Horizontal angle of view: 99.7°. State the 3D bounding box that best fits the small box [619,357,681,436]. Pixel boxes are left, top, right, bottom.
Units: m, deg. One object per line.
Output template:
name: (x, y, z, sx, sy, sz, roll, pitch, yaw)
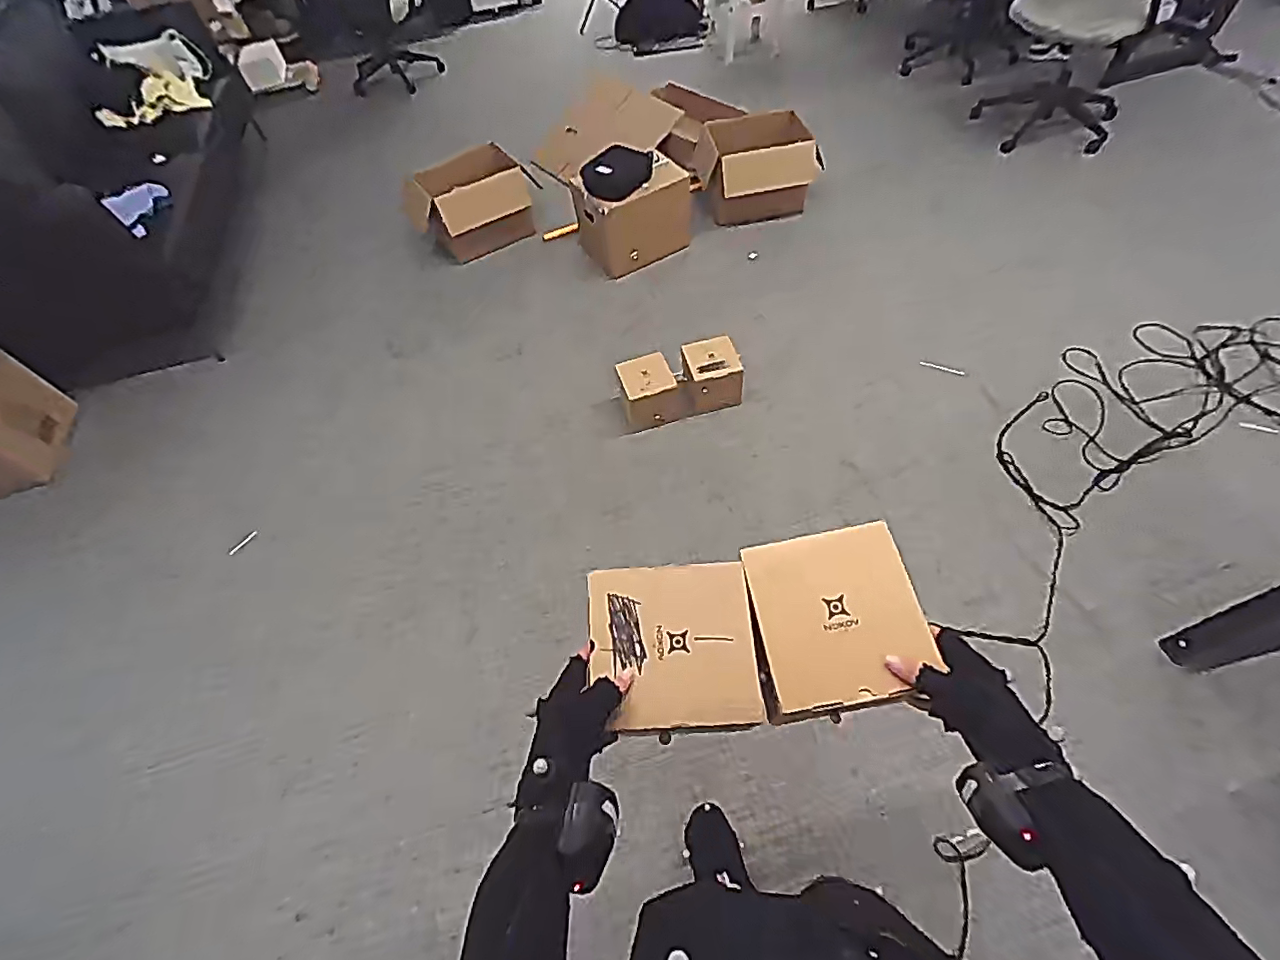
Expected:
small box: (0.035, -0.281, 1.838, 0.168, 0.176, 0.179, -18, 56, -4)
